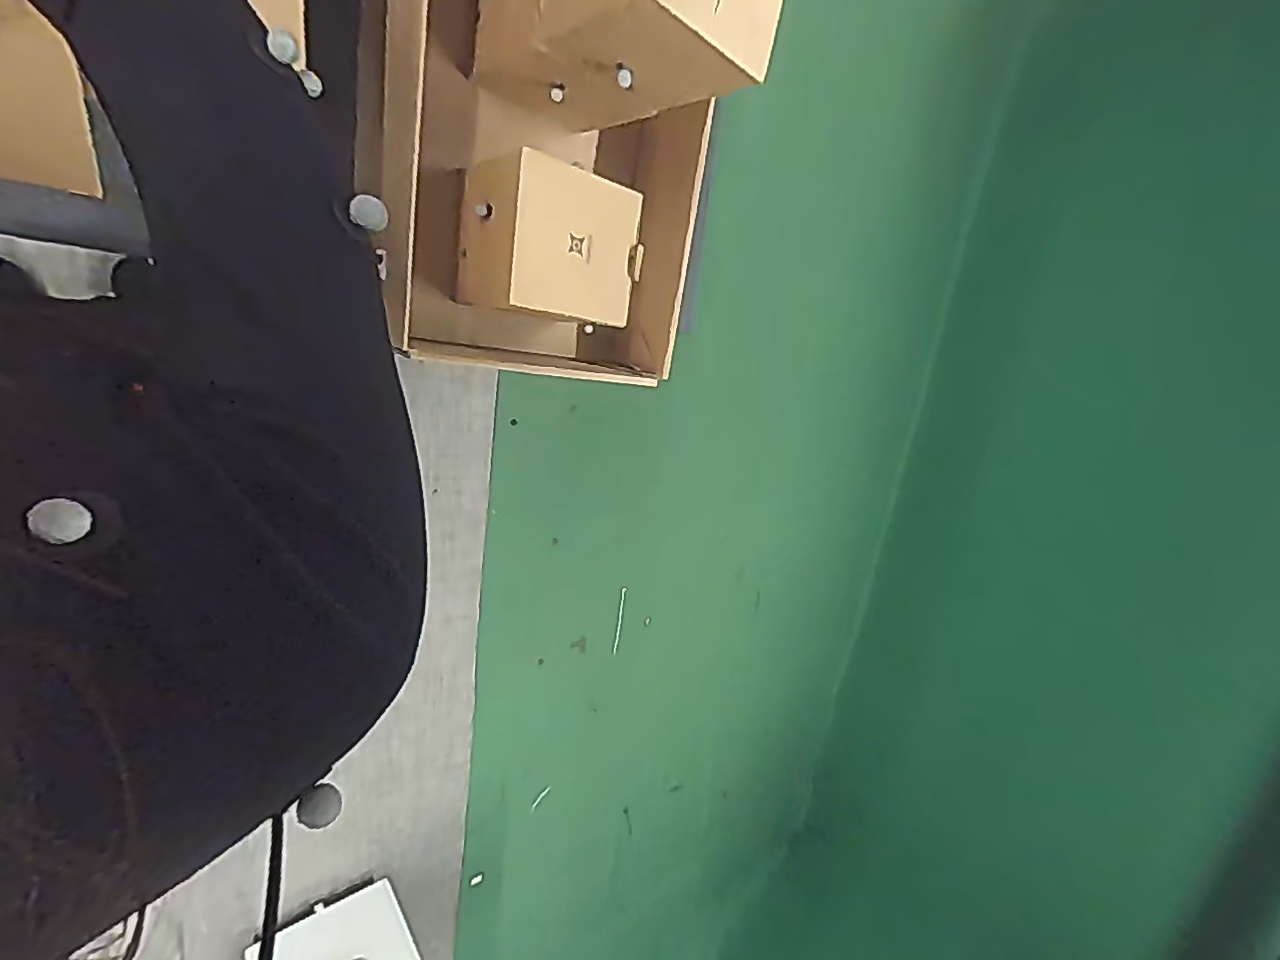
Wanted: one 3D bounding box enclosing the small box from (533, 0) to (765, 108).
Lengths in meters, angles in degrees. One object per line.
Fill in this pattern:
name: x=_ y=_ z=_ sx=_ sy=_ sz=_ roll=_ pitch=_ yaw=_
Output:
small box: x=0.012 y=-0.507 z=0.535 sx=0.168 sy=0.176 sz=0.179 roll=-2 pitch=111 yaw=-44
